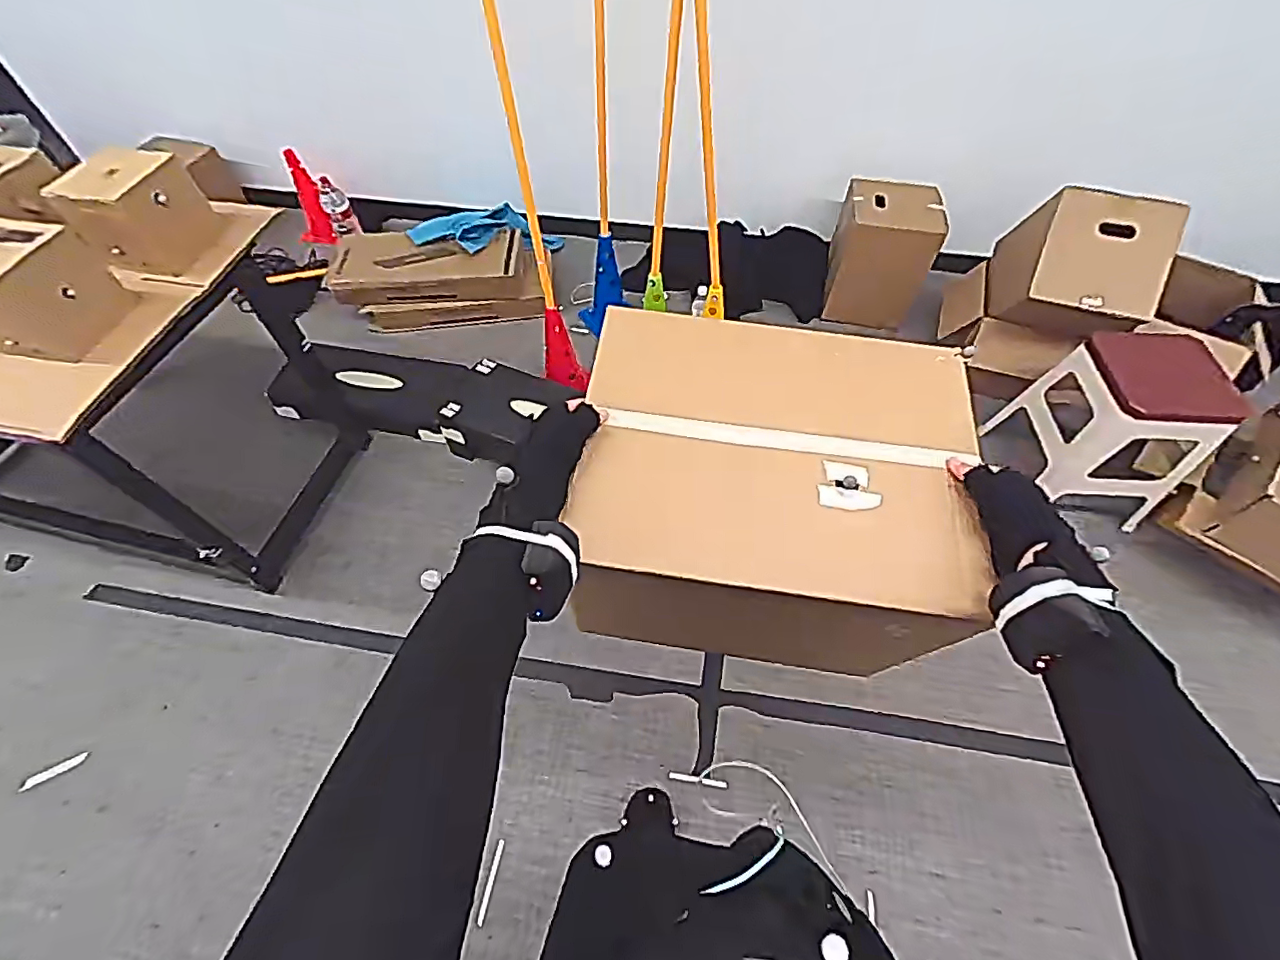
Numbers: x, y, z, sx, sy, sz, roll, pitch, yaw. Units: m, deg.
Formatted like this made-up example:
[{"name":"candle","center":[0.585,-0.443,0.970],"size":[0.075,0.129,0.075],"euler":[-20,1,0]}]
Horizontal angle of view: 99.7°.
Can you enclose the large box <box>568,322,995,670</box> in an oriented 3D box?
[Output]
[{"name":"large box","center":[0.143,0.037,0.696],"size":[0.408,0.320,0.320],"euler":[8,63,3]}]
